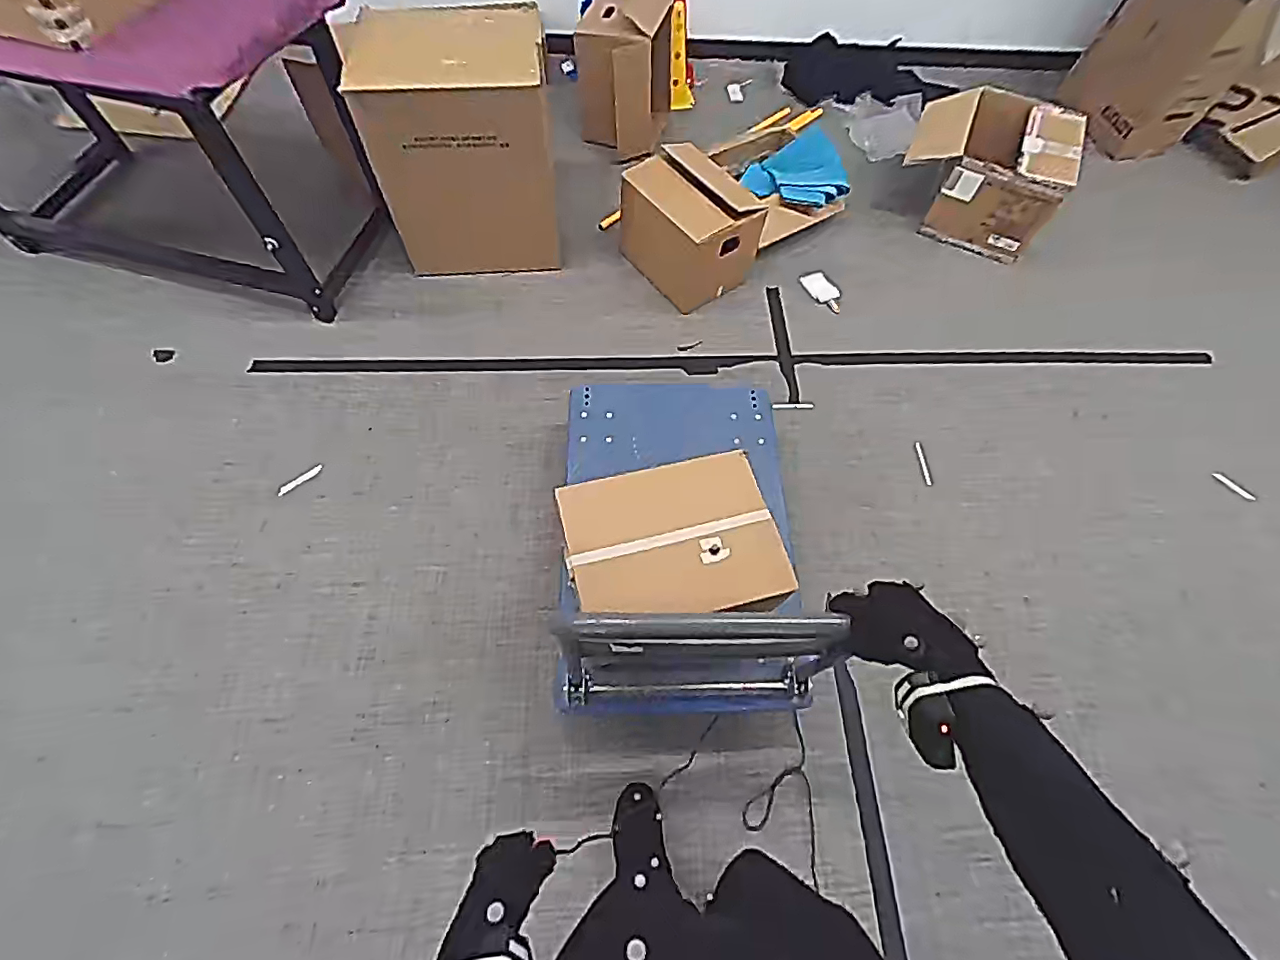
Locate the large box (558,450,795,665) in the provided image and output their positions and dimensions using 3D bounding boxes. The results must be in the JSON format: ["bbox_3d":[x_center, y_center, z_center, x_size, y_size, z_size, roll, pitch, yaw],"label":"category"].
[{"bbox_3d":[0.055,0.177,1.181,0.408,0.320,0.320,-12,65,-10],"label":"large box"}]
